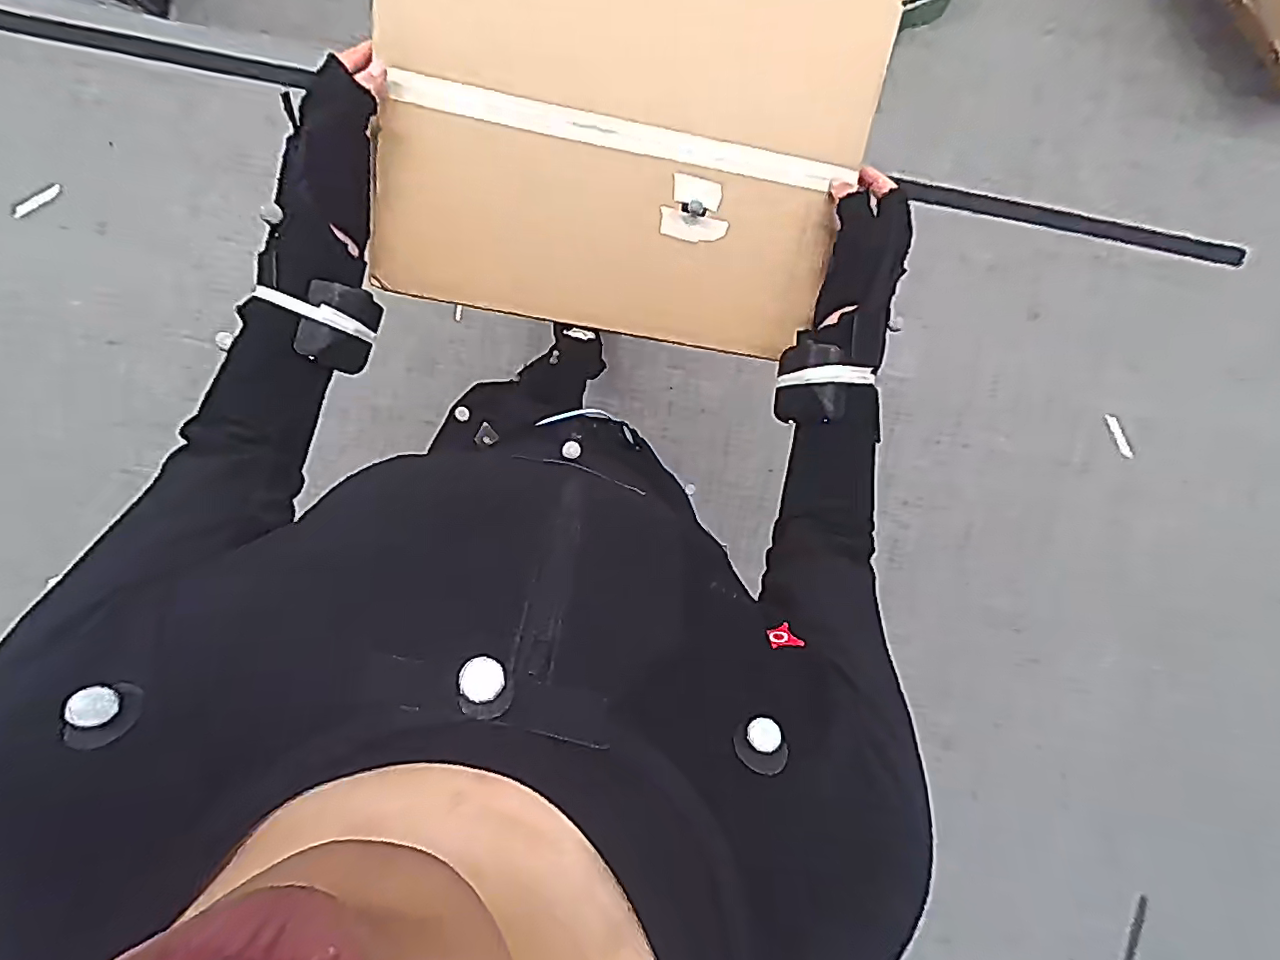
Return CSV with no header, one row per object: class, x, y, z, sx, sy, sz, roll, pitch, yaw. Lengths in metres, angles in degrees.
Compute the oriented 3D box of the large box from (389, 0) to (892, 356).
large box,-0.021,-0.337,0.608,0.408,0.320,0.320,9,108,-7
